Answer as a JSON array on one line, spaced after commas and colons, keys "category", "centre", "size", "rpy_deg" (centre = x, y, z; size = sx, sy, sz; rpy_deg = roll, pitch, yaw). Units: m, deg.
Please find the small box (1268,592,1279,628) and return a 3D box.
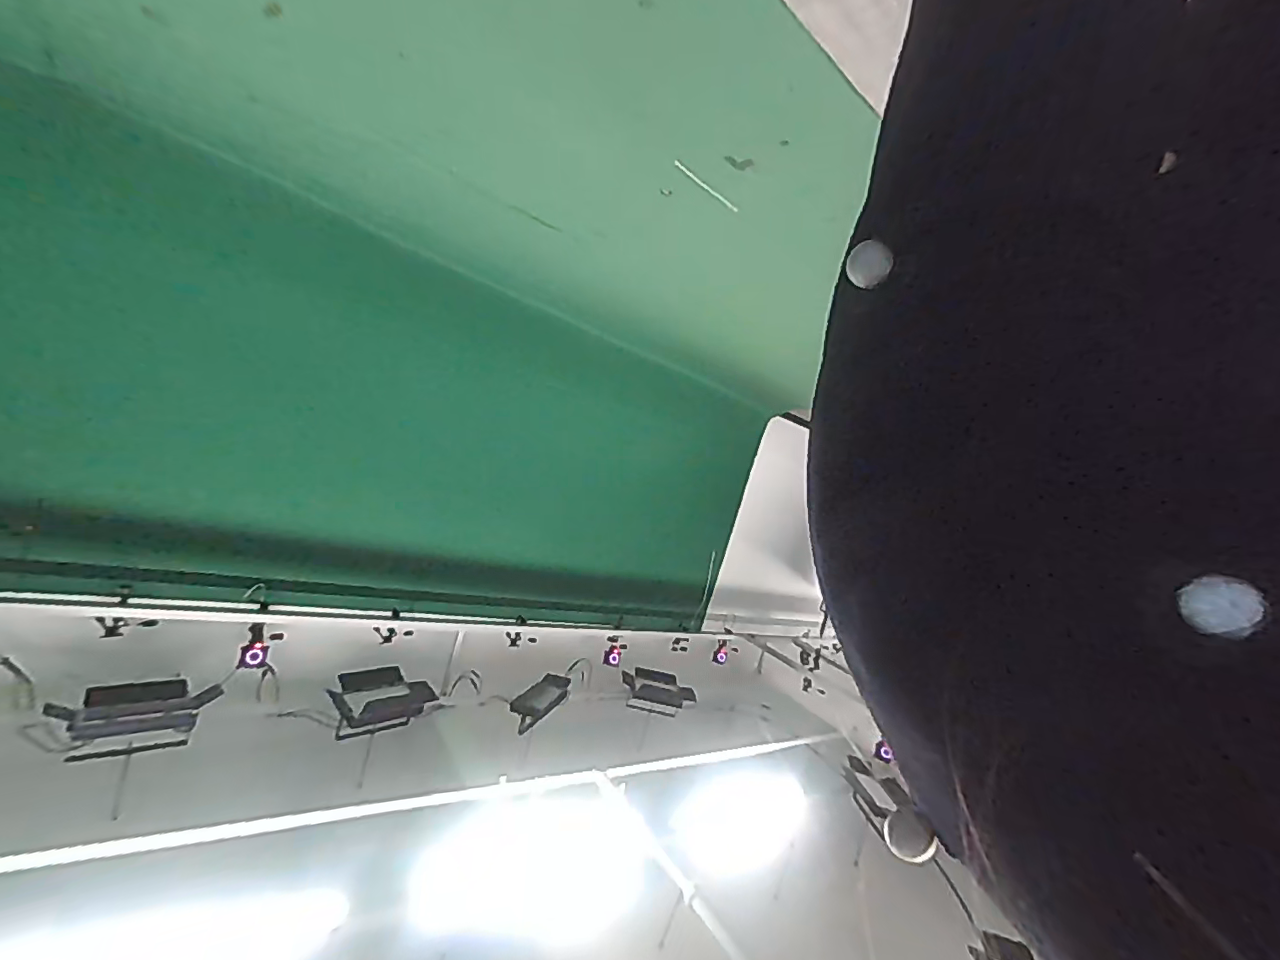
[{"category": "small box", "centre": [1.750, 0.325, 1.357], "size": [0.179, 0.176, 0.168], "rpy_deg": [16, -177, -28]}]
